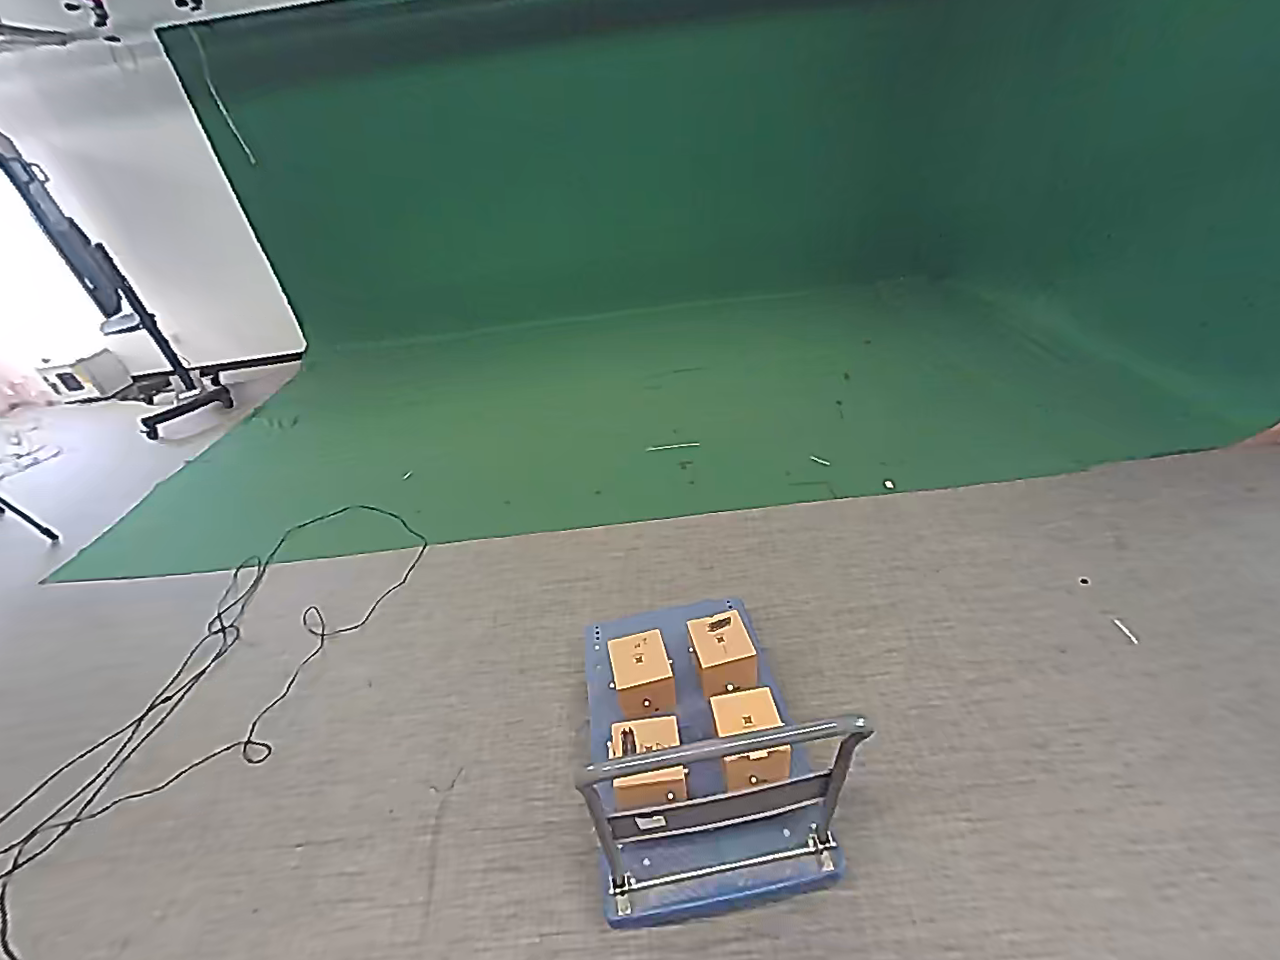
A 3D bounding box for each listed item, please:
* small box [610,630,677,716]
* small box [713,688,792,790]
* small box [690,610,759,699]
[{"bbox_3d":[0.011,0.588,1.634,0.168,0.176,0.179,-11,36,-6],"label":"small box"},{"bbox_3d":[0.292,0.689,1.439,0.168,0.176,0.179,-9,36,-2],"label":"small box"},{"bbox_3d":[0.255,0.535,1.658,0.168,0.176,0.179,-13,37,-5],"label":"small box"}]
